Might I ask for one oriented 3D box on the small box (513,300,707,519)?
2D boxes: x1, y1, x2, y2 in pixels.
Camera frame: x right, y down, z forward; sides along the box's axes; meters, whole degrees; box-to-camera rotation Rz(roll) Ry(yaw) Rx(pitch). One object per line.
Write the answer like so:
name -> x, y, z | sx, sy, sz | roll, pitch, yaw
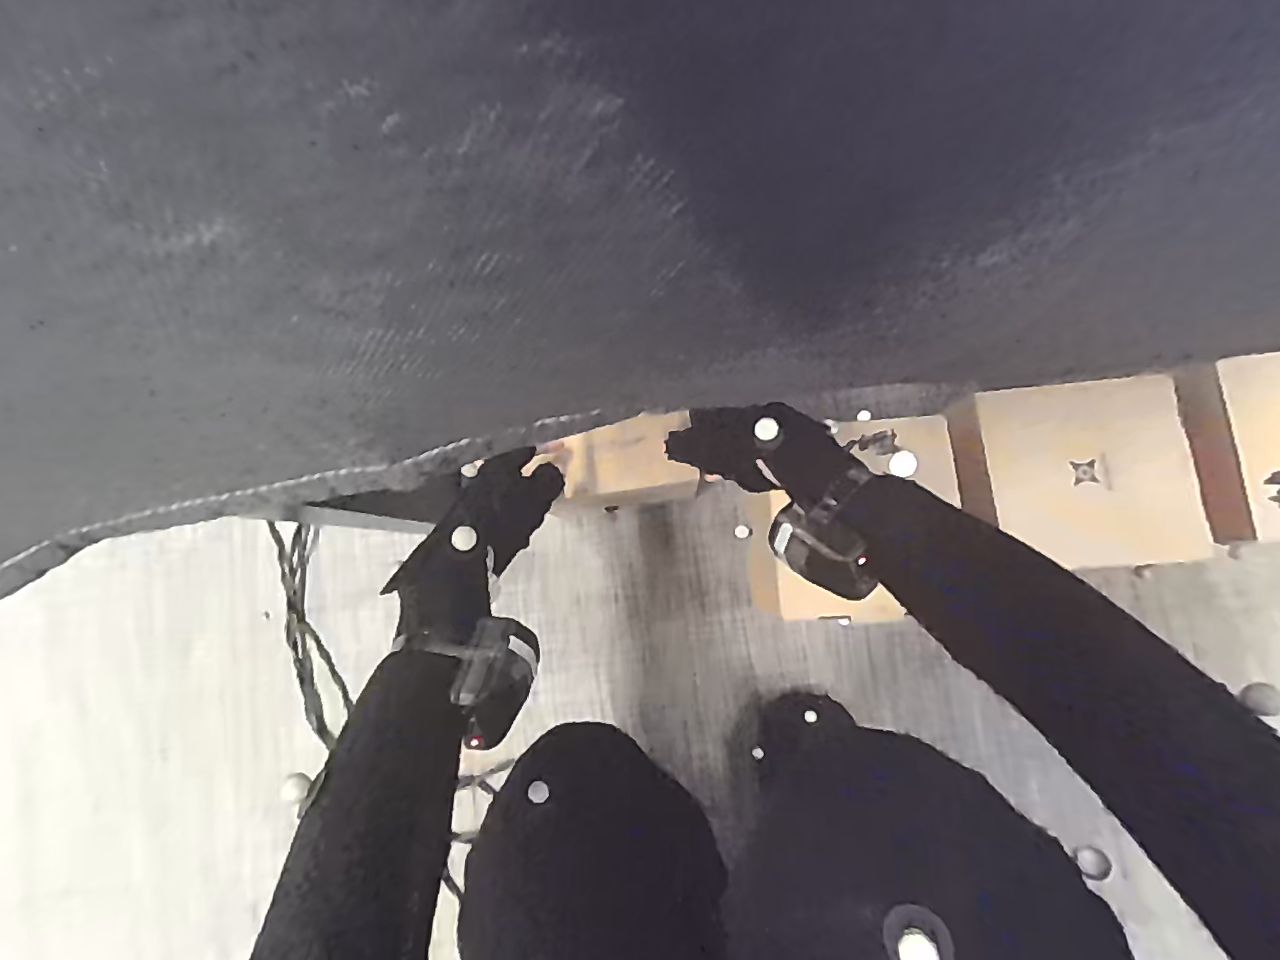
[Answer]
small box -> -0.027, -0.062, 0.578 | 0.168, 0.176, 0.179 | -9, 80, 2
